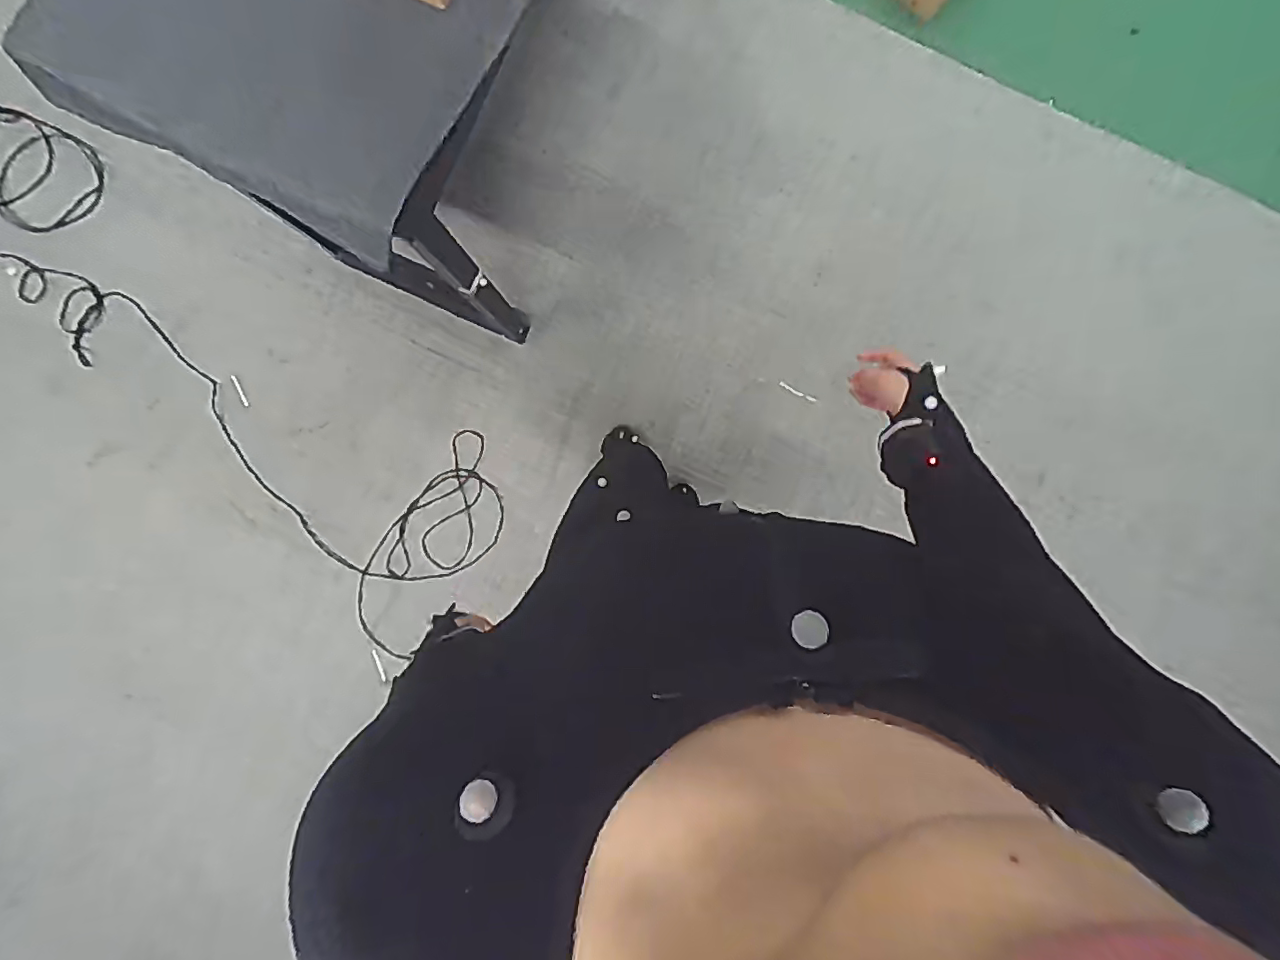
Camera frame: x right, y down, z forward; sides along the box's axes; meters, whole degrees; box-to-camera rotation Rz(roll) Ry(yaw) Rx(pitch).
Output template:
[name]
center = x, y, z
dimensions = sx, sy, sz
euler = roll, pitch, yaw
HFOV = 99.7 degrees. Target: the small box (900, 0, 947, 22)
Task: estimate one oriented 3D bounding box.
[small box]
center = 0.766, -1.345, 1.383
dimensions = 0.168, 0.176, 0.179
euler = 42, 91, -1
